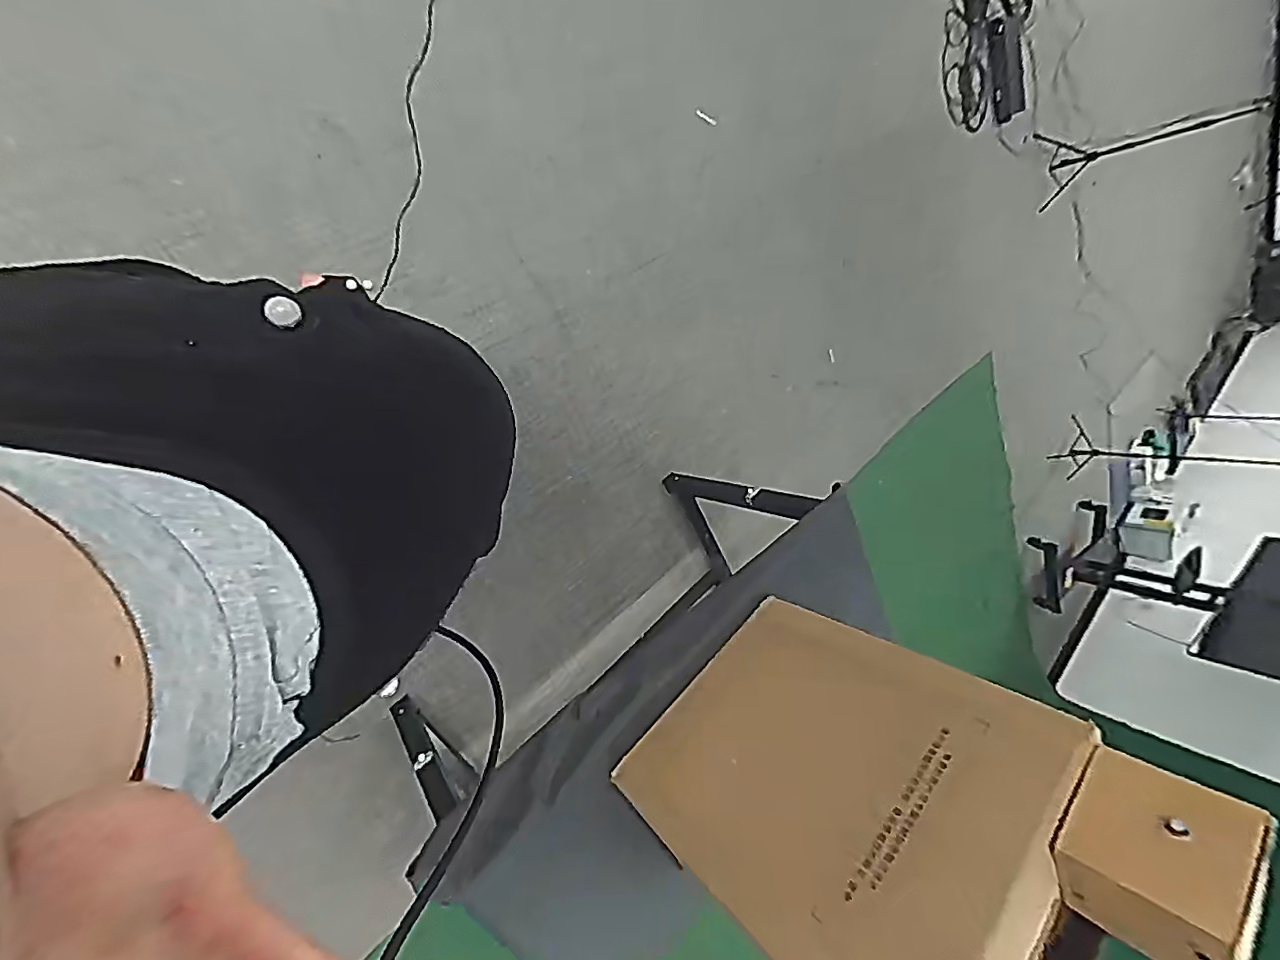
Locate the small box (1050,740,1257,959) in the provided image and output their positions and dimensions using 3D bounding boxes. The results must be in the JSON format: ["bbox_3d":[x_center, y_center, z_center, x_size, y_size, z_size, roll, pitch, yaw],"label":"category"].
[{"bbox_3d":[0.676,0.490,0.719,0.179,0.176,0.168,-42,117,-25],"label":"small box"}]
